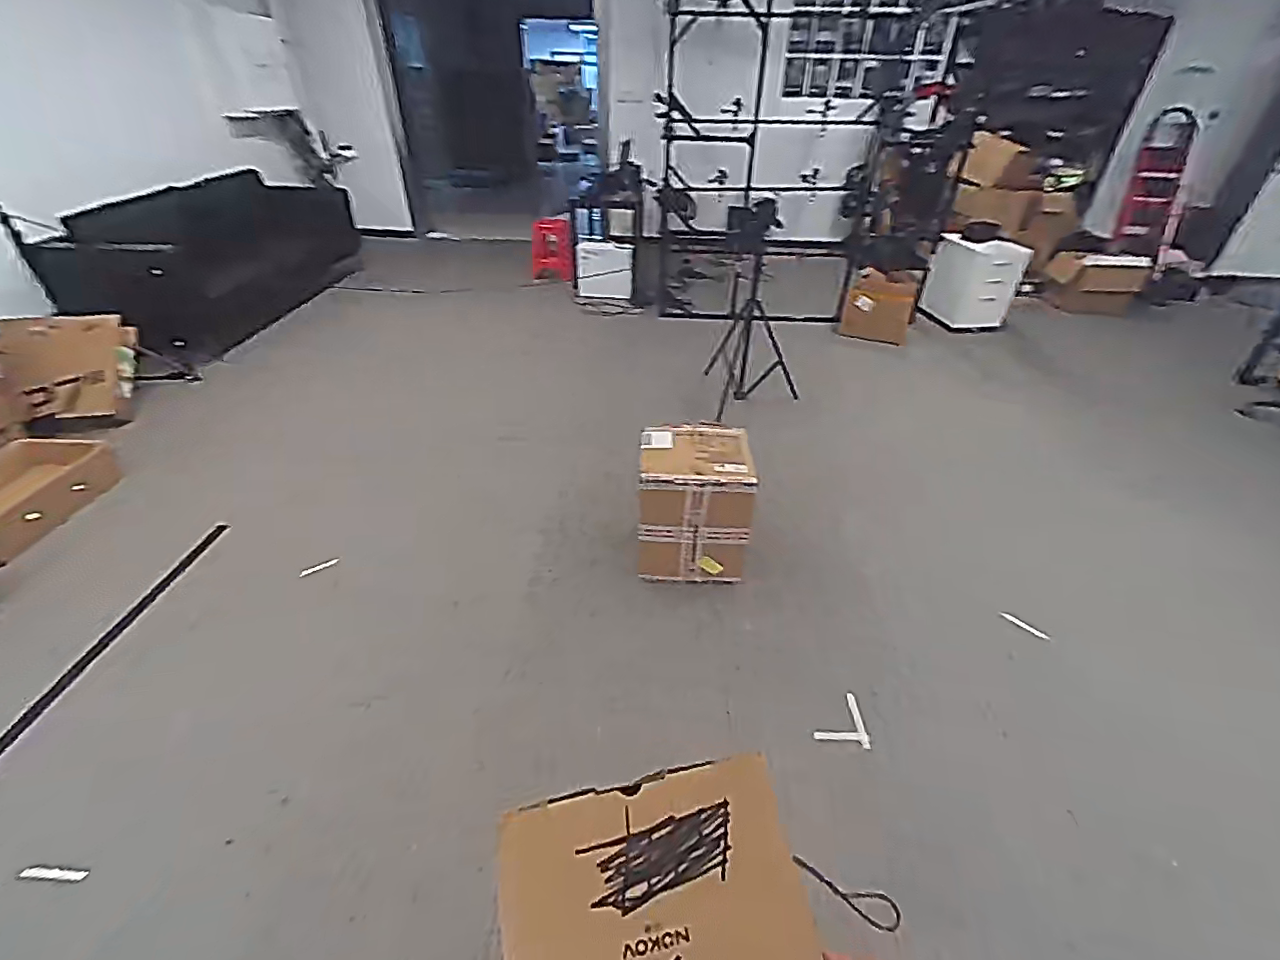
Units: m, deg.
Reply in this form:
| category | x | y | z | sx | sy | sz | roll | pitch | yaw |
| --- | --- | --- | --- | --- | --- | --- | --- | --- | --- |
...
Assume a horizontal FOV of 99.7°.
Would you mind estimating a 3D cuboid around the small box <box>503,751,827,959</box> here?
| category | x | y | z | sx | sy | sz | roll | pitch | yaw |
| --- | --- | --- | --- | --- | --- | --- | --- | --- | --- |
| small box | 0.017 | 0.295 | 0.342 | 0.168 | 0.176 | 0.179 | -11 | 55 | -4 |
